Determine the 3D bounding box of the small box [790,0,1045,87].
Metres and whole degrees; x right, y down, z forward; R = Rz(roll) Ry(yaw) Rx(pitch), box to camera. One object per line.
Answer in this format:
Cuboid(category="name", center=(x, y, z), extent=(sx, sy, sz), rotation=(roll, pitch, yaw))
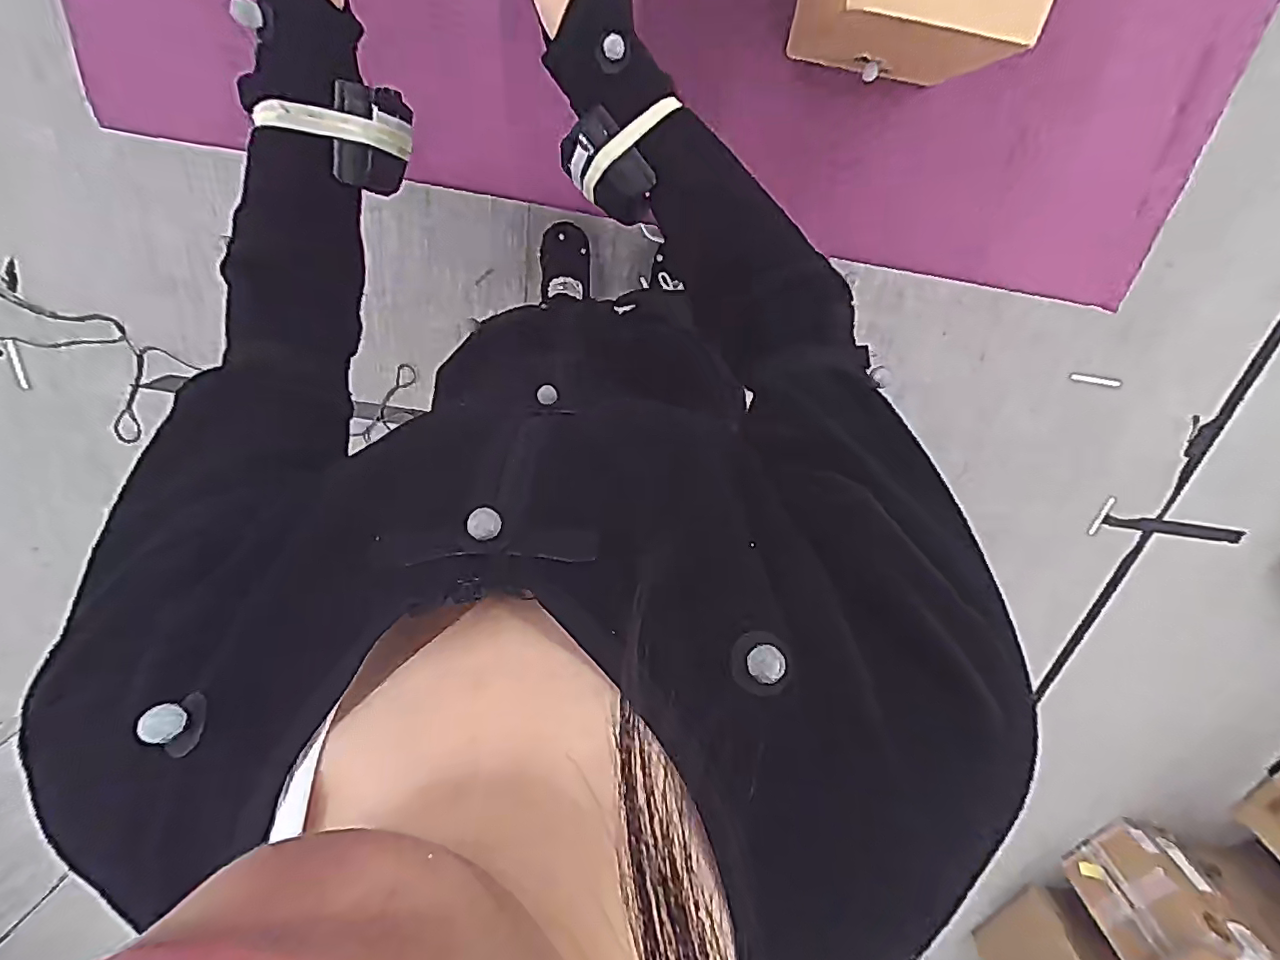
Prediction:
Cuboid(category="small box", center=(0.247, -0.475, 0.470), extent=(0.168, 0.176, 0.179), rotation=(7, 117, -6))
